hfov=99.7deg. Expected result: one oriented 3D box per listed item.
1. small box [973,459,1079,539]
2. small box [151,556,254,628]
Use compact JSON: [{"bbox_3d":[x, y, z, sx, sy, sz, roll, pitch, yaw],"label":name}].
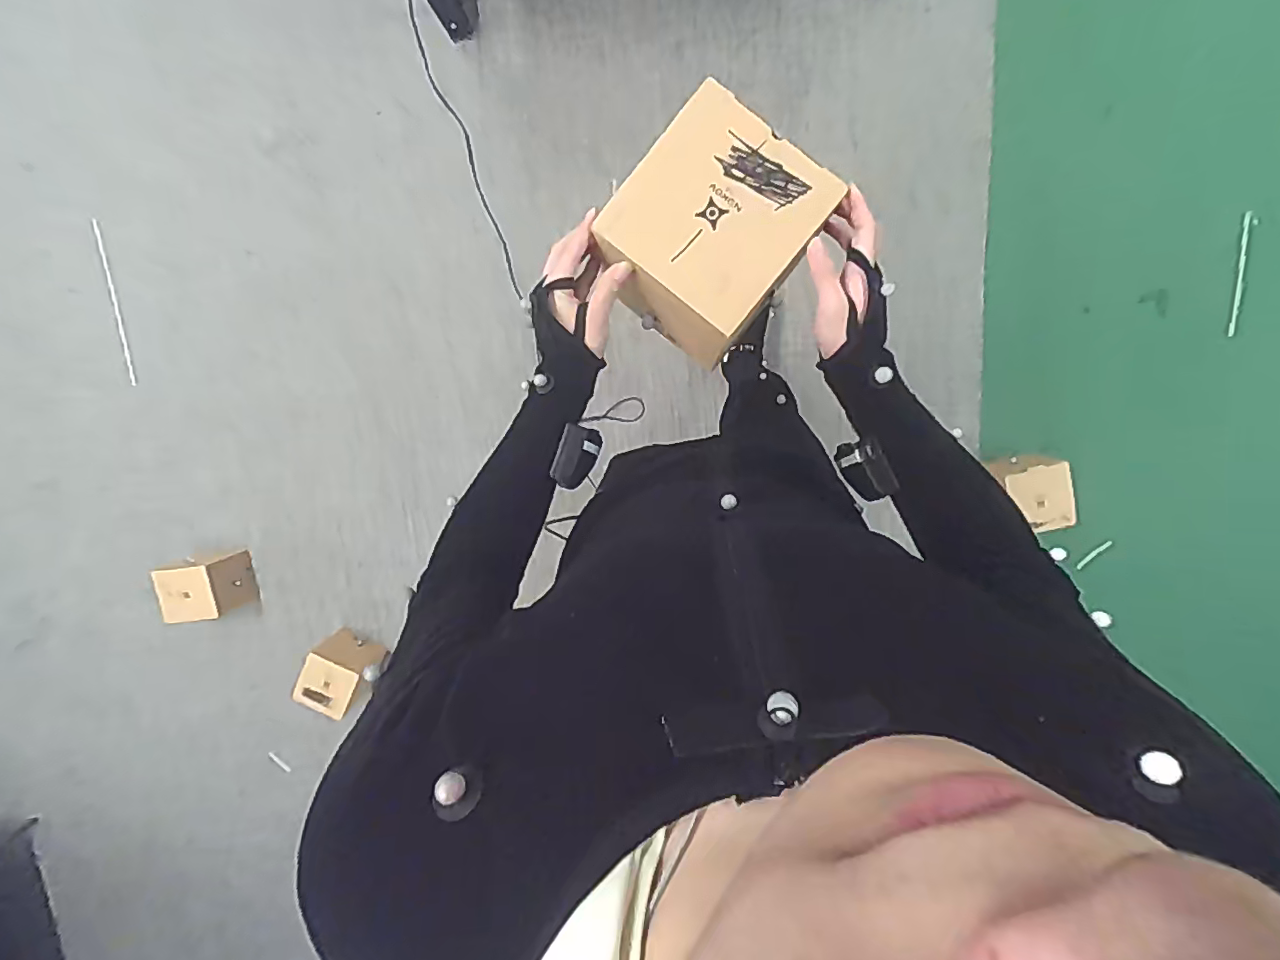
[{"bbox_3d":[1.044,0.043,1.477,0.168,0.176,0.179,-14,98,6],"label":"small box"},{"bbox_3d":[-1.335,0.340,1.667,0.179,0.176,0.168,-7,98,5],"label":"small box"}]
